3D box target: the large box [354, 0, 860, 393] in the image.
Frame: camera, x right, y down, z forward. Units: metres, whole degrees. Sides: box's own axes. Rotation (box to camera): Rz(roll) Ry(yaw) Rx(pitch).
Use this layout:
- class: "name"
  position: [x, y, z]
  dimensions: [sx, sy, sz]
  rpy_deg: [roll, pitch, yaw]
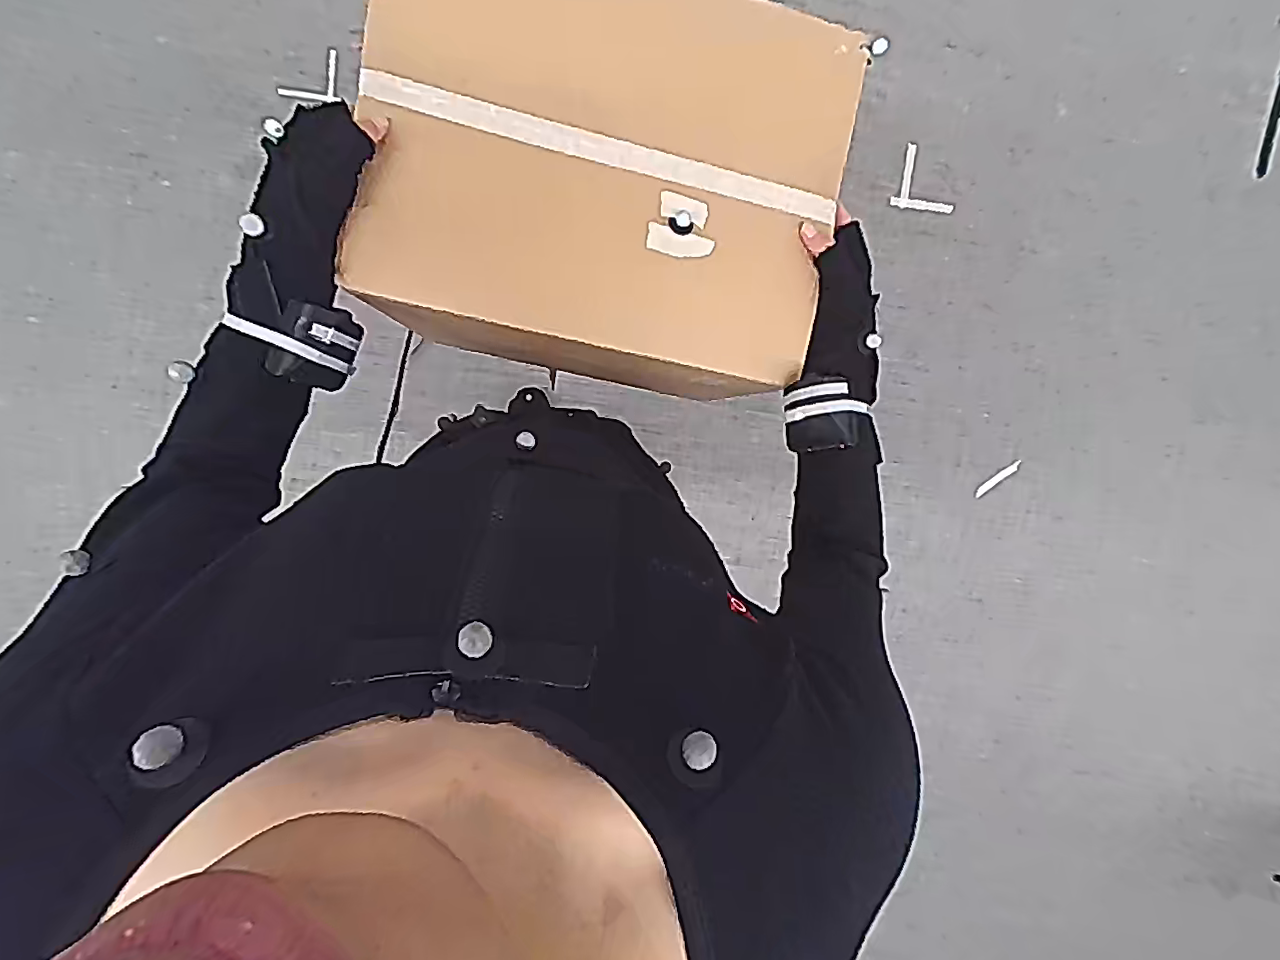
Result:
- class: "large box"
  position: [-0.042, -0.296, 0.613]
  dimensions: [0.408, 0.320, 0.320]
  rpy_deg: [11, 95, -10]
